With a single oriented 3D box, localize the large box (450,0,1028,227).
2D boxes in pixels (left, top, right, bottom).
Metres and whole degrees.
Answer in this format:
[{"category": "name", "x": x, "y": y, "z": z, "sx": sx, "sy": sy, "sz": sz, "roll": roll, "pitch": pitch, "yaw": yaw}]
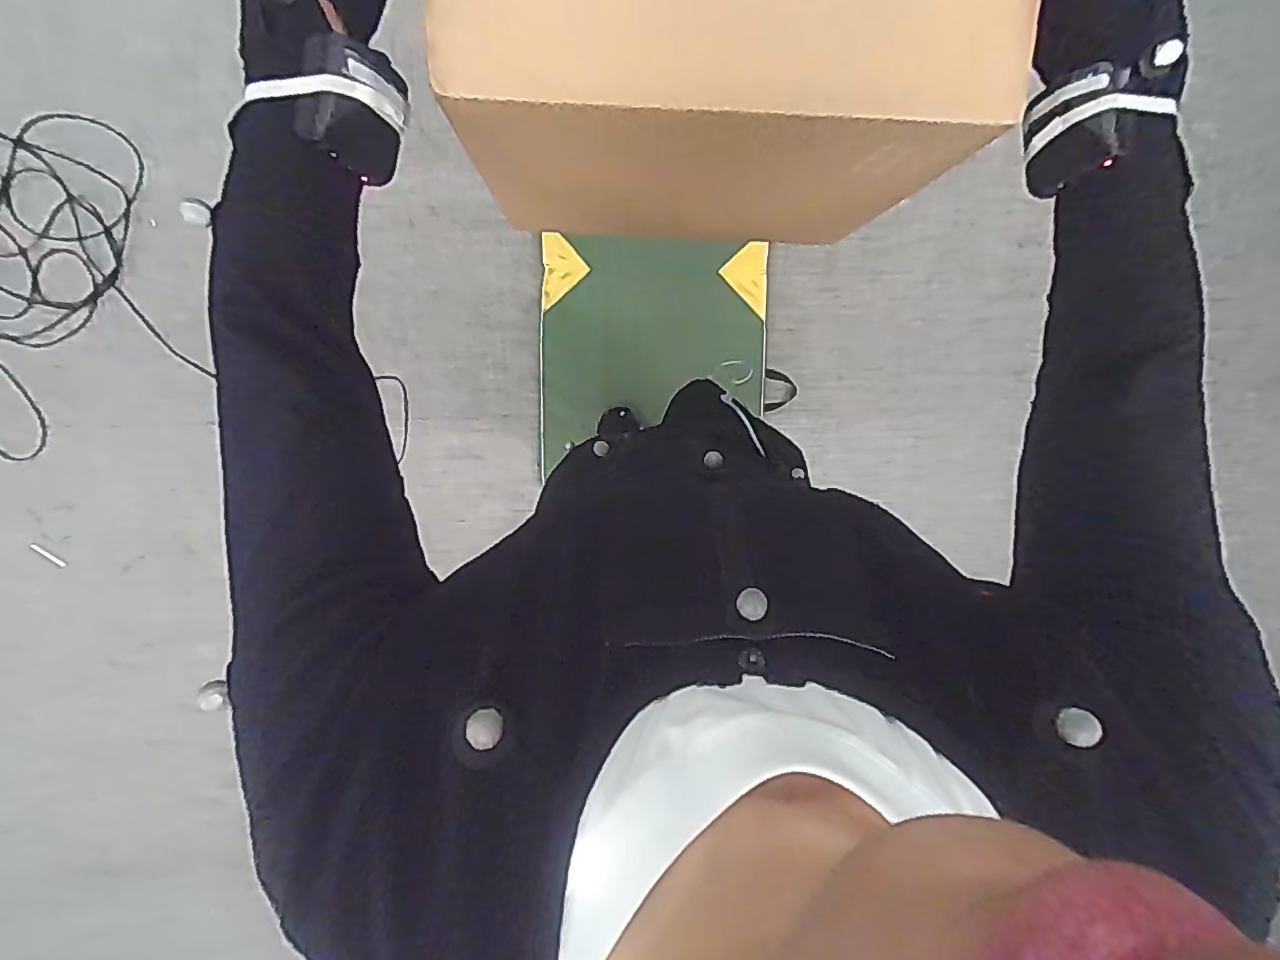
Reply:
[{"category": "large box", "x": 0.061, "y": -0.439, "z": 0.495, "sx": 0.408, "sy": 0.320, "sz": 0.320, "roll": 0, "pitch": 100, "yaw": -4}]
